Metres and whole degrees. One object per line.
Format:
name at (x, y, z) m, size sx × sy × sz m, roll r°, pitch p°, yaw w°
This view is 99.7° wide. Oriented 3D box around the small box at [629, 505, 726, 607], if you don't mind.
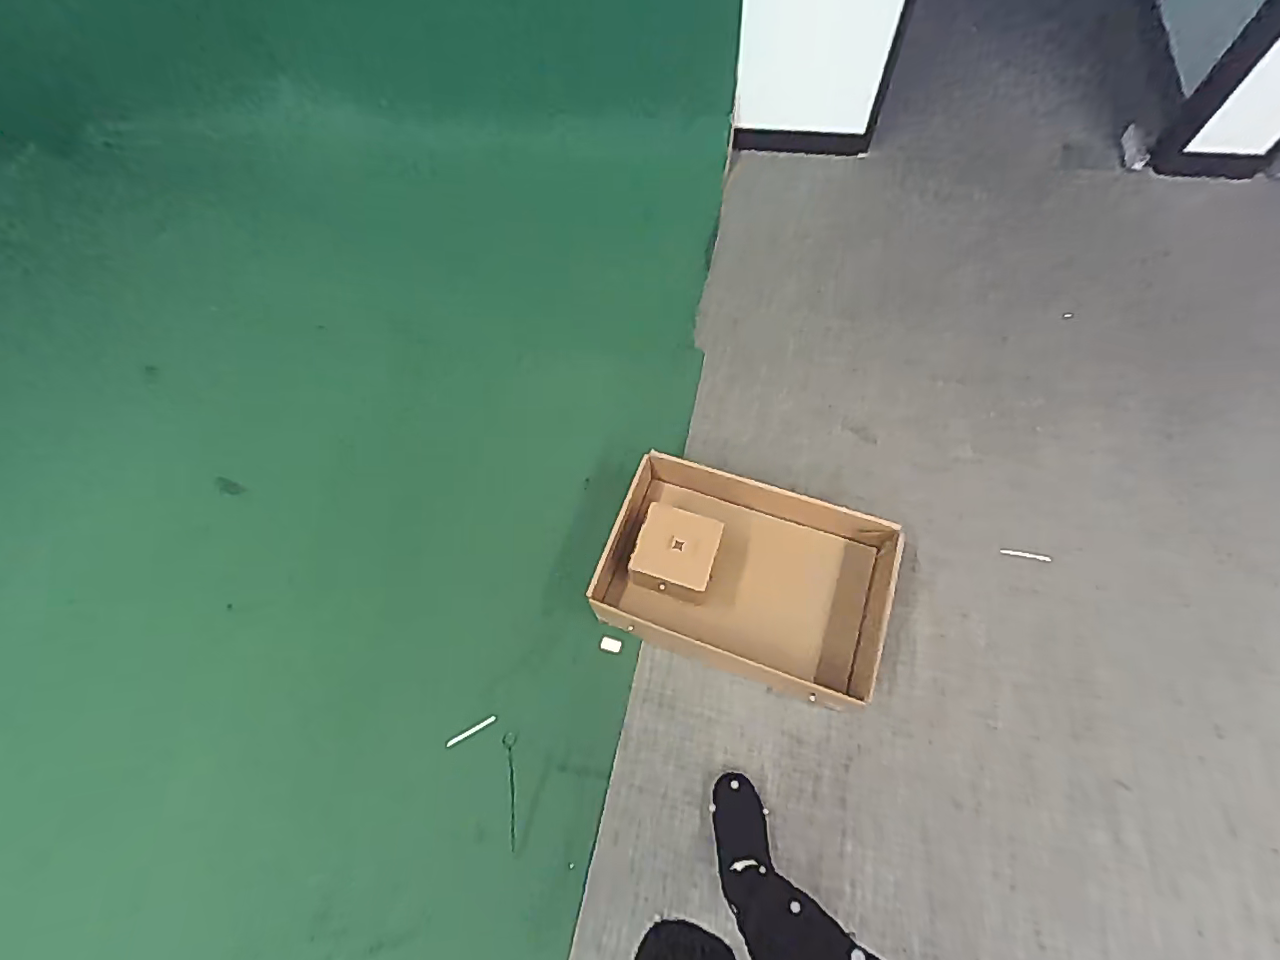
small box at (0.090, 0.184, 1.262) m, size 0.179 × 0.176 × 0.168 m, roll 17°, pitch 69°, yaw 12°
